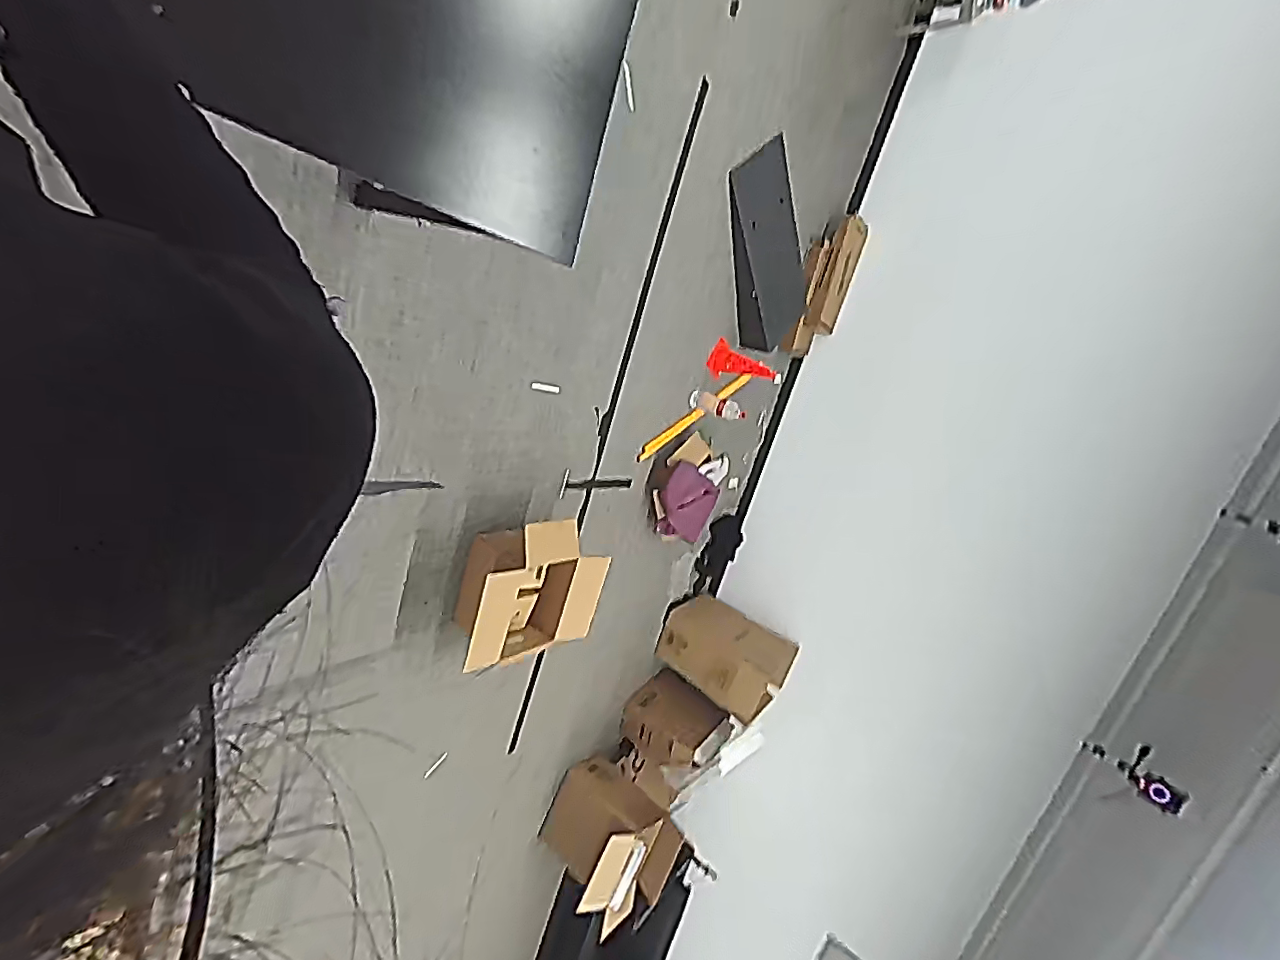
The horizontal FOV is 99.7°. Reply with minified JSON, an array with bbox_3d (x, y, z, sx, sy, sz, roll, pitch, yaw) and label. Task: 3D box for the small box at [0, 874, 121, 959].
[{"bbox_3d":[-1.450,1.145,1.352,0.179,0.176,0.168,6,104,-56],"label":"small box"}]
